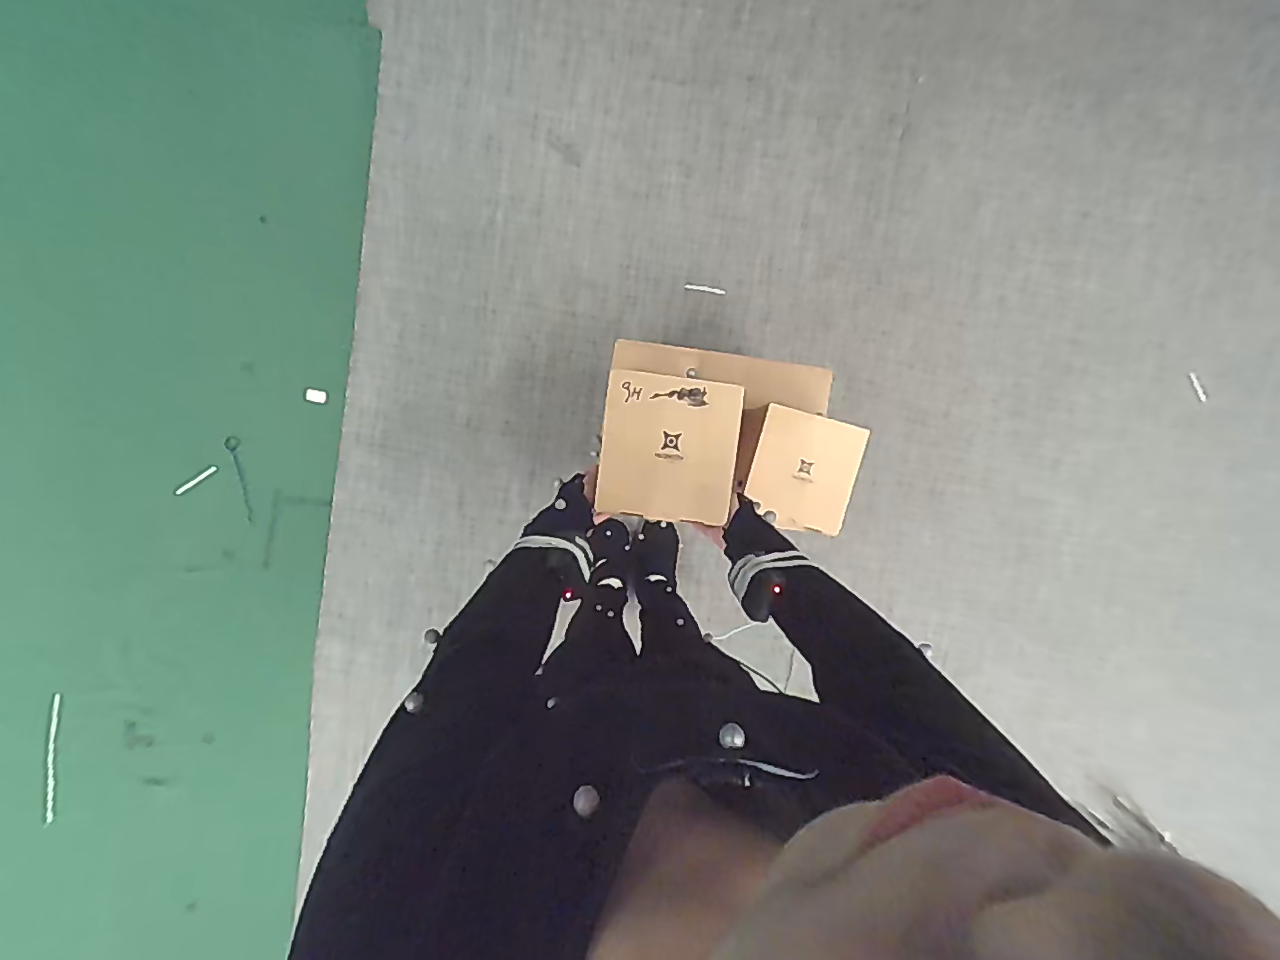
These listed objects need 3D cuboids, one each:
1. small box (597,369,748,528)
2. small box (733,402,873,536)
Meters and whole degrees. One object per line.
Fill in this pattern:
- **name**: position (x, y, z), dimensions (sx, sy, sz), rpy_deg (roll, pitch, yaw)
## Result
- **small box**: position (0.035, -0.043, 0.723), dimensions (0.168, 0.176, 0.179), rpy_deg (6, 94, -4)
- **small box**: position (0.256, -0.022, 0.907), dimensions (0.168, 0.176, 0.179), rpy_deg (14, 94, -3)
